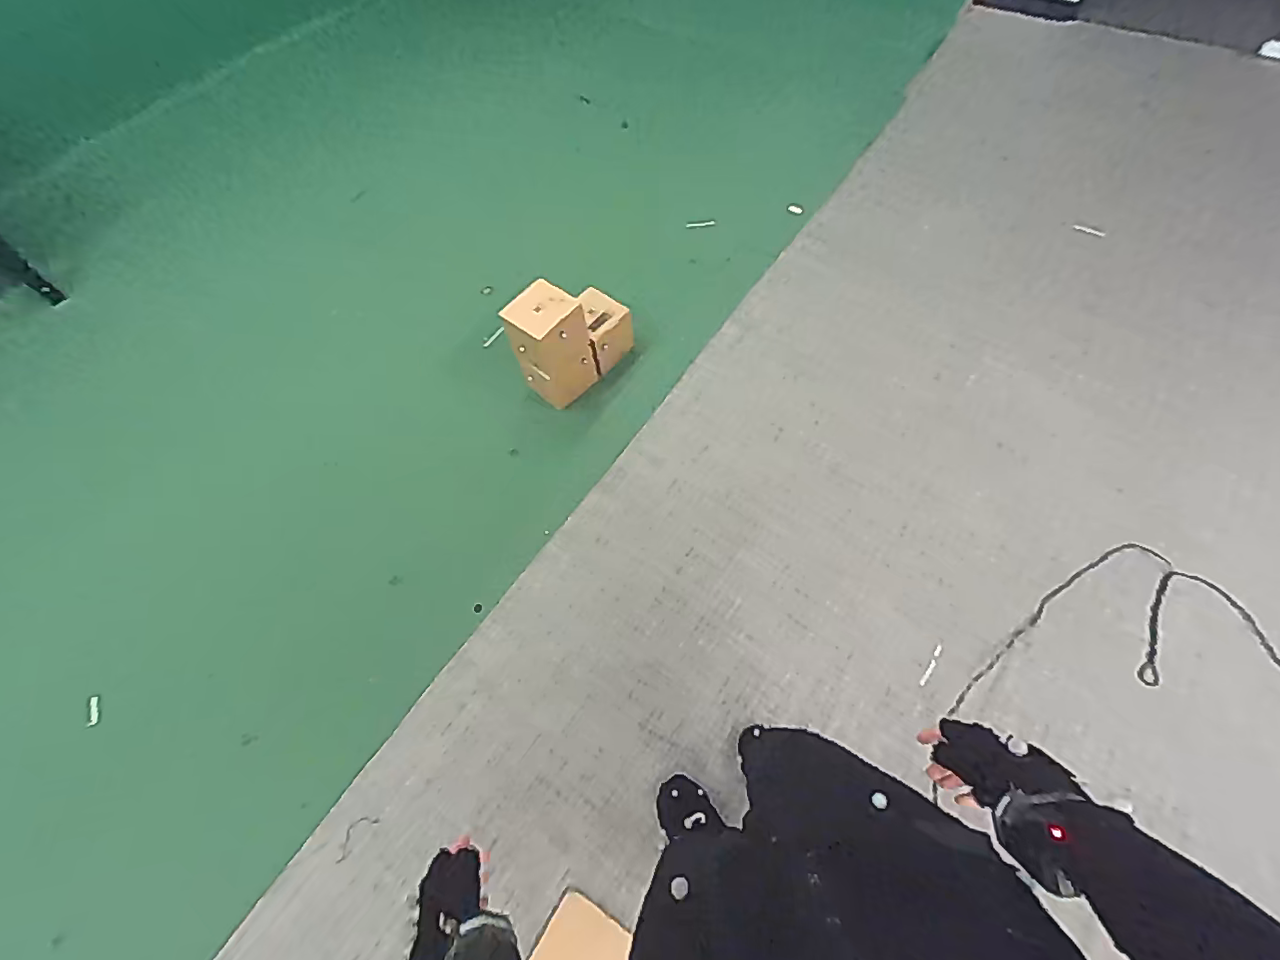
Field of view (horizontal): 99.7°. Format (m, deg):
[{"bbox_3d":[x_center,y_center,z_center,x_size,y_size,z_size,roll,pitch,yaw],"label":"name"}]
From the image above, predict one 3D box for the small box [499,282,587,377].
[{"bbox_3d":[-0.273,-0.433,1.579,0.168,0.176,0.179,35,69,20],"label":"small box"}]
